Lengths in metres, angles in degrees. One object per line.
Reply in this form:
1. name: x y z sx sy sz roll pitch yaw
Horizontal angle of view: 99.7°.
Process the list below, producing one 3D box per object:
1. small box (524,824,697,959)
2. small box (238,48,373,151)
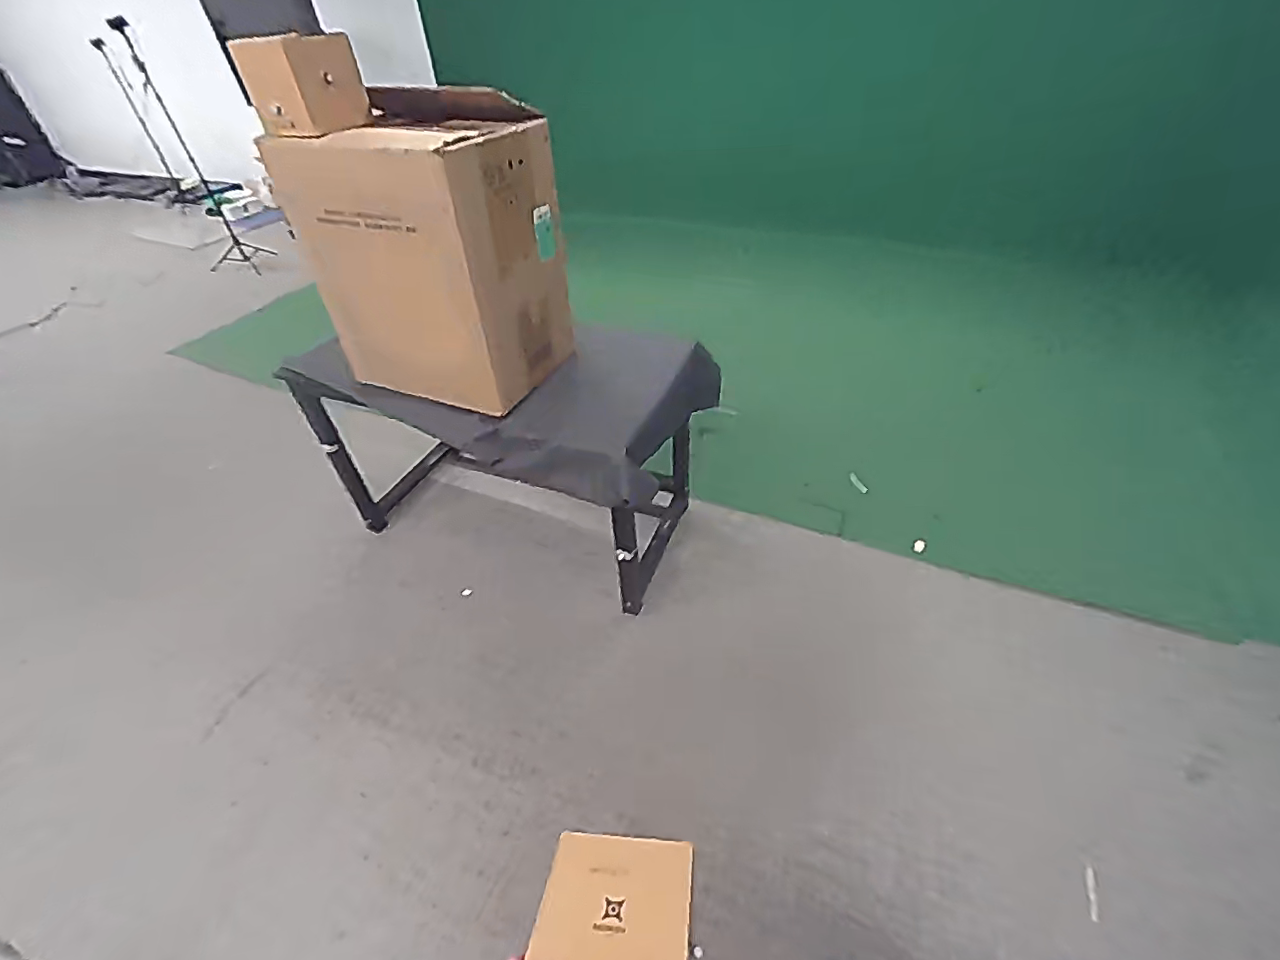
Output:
1. small box: -0.023 0.537 0.614 0.168 0.176 0.179 0 19 9
2. small box: -0.733 -0.855 1.214 0.168 0.176 0.179 14 45 21
